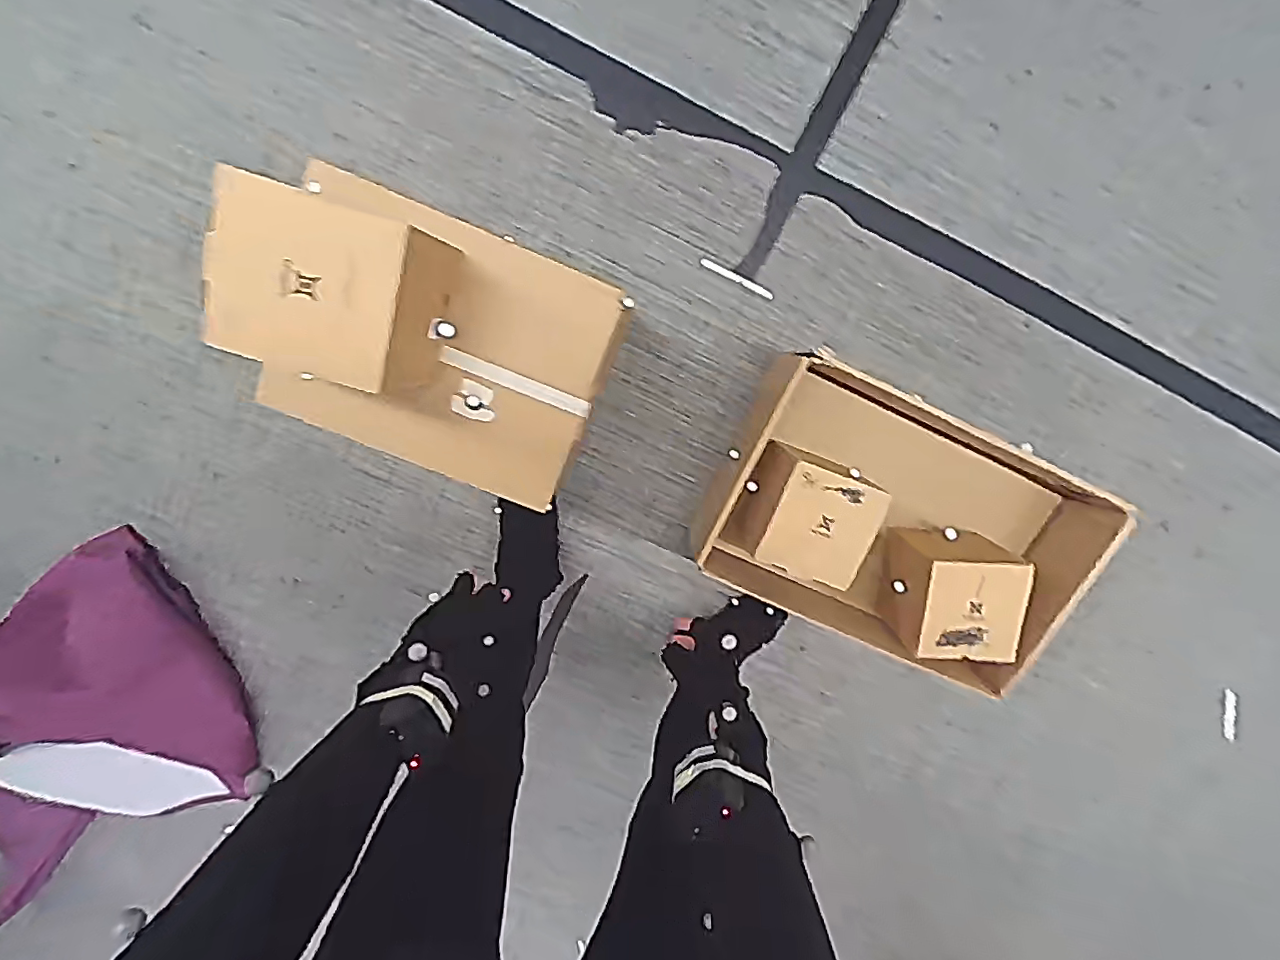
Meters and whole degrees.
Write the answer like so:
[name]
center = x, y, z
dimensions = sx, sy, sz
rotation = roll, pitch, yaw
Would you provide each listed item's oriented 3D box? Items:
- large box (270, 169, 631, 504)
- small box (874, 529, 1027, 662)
[large box]
center = -0.253, -0.205, 0.840
dimensions = 0.408, 0.320, 0.320
rotation = 21, 104, -6
[small box]
center = 0.540, 0.200, 0.968
dimensions = 0.168, 0.176, 0.179
rotation = 3, 103, 0
